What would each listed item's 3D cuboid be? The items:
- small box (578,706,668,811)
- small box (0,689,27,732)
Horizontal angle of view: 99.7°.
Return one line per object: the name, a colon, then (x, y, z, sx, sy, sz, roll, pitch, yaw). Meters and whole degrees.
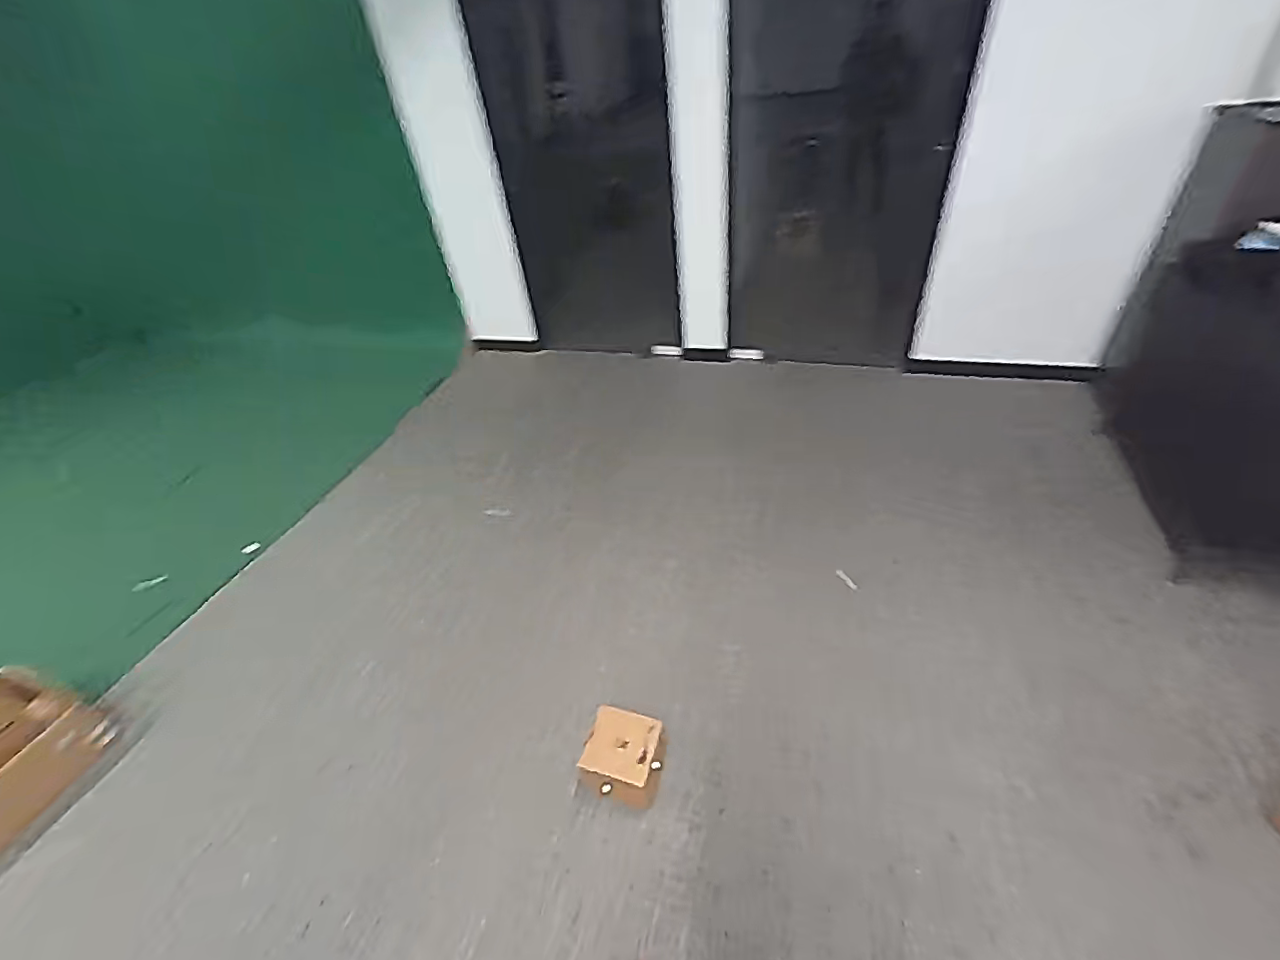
small box: (-0.037, 0.720, 1.395, 0.179, 0.176, 0.168, 8, 41, 19)
small box: (-1.845, 0.621, 1.453, 0.179, 0.176, 0.168, 12, 43, 19)
